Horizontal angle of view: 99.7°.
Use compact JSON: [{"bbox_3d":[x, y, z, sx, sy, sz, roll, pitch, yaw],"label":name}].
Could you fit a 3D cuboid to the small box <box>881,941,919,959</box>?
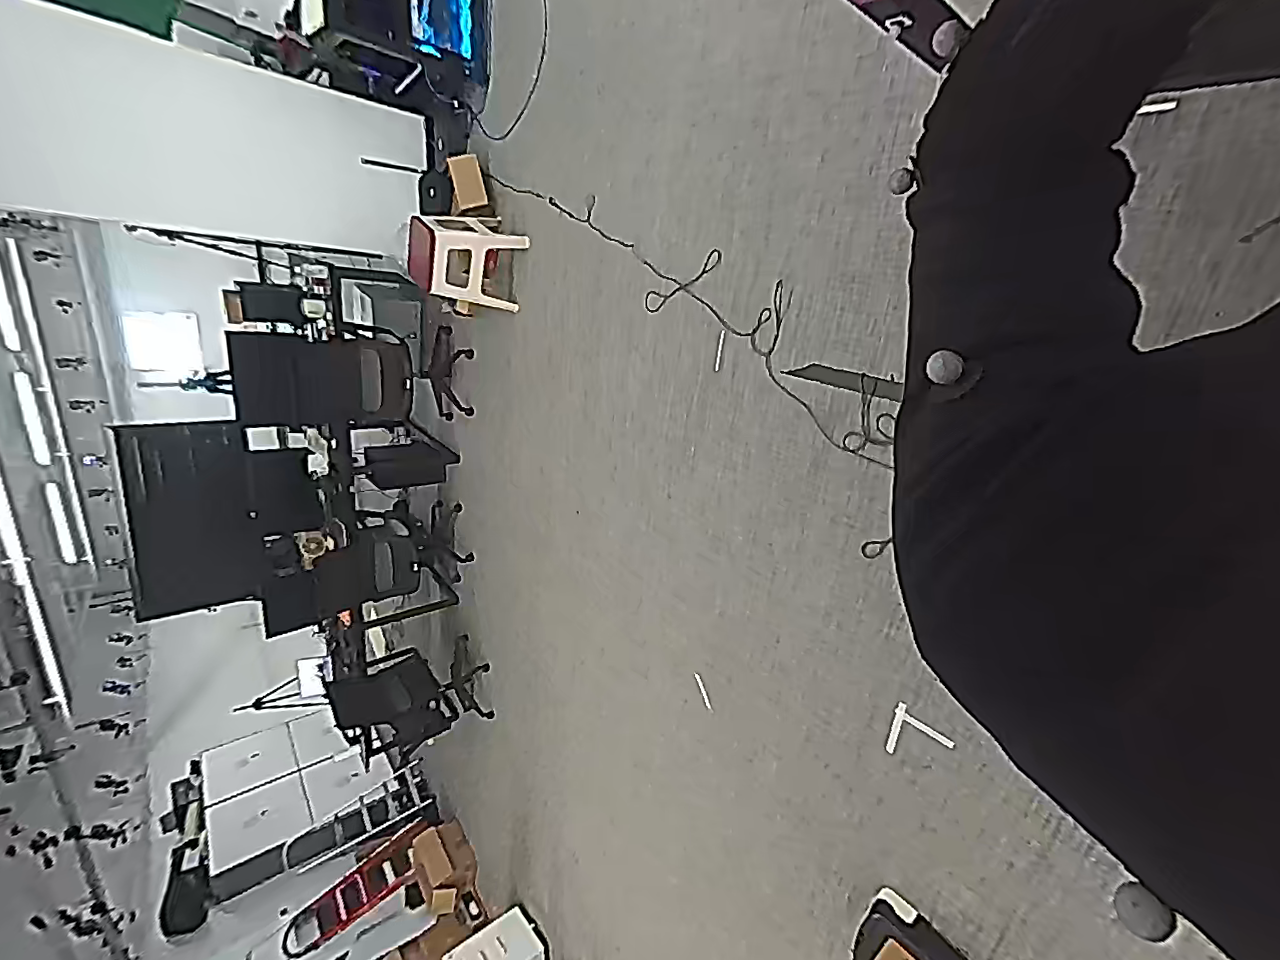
[{"bbox_3d":[0.709,1.415,1.450,0.168,0.176,0.179,24,116,46],"label":"small box"}]
